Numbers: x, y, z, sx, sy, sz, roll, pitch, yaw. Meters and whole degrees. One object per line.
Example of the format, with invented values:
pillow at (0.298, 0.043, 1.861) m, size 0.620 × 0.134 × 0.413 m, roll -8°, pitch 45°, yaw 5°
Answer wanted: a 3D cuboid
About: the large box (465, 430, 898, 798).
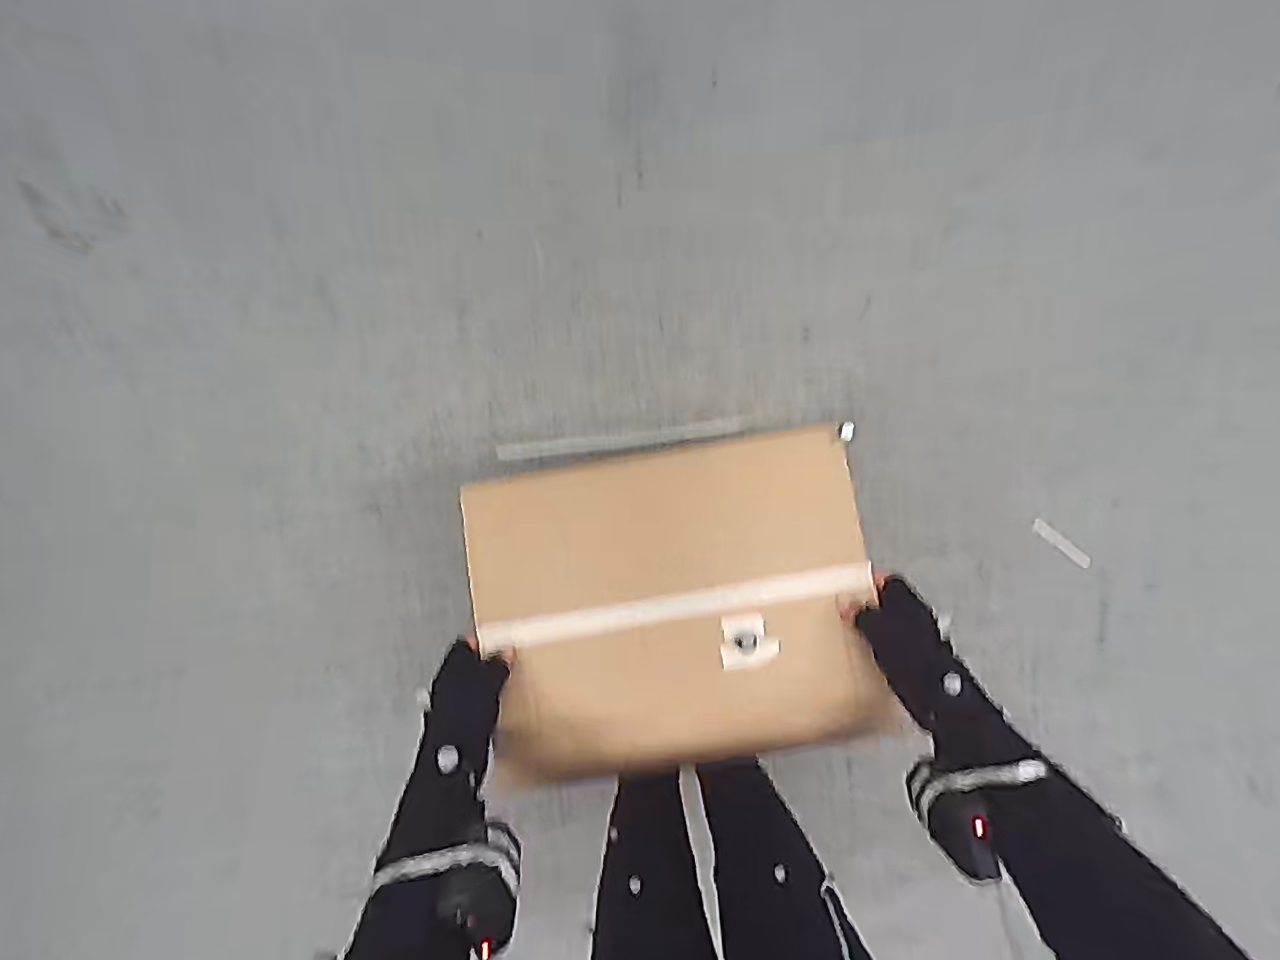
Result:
large box at (0.038, 0.151, 0.698) m, size 0.408 × 0.320 × 0.320 m, roll -10°, pitch 83°, yaw 1°
